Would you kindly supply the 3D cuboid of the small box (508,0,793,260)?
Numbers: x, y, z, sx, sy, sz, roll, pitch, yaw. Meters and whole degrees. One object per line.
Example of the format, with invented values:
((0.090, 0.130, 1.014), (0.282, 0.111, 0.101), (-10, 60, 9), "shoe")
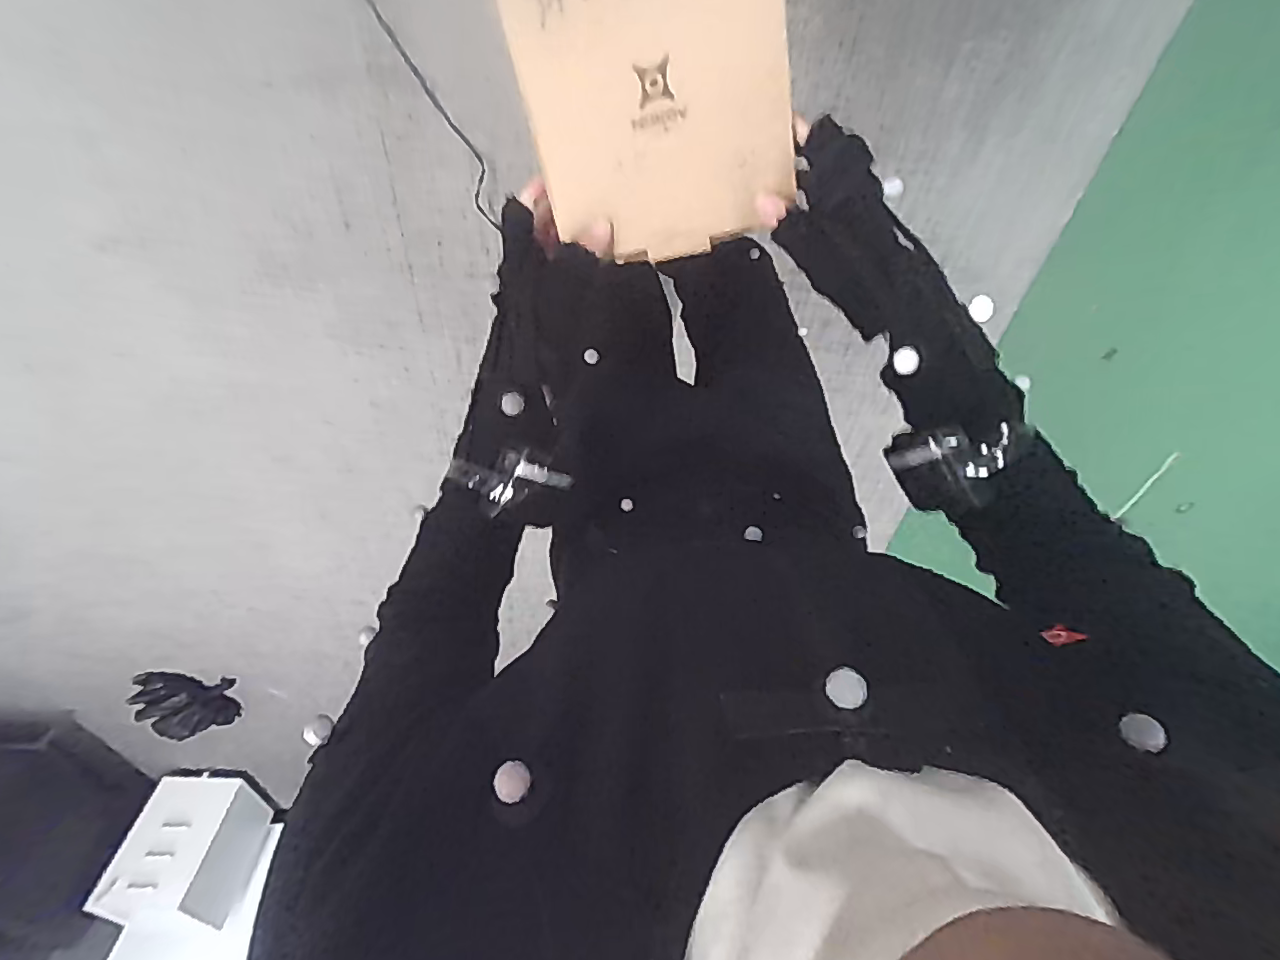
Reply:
((0.017, -0.288, 0.415), (0.168, 0.176, 0.179), (-9, 120, 8), "small box")
